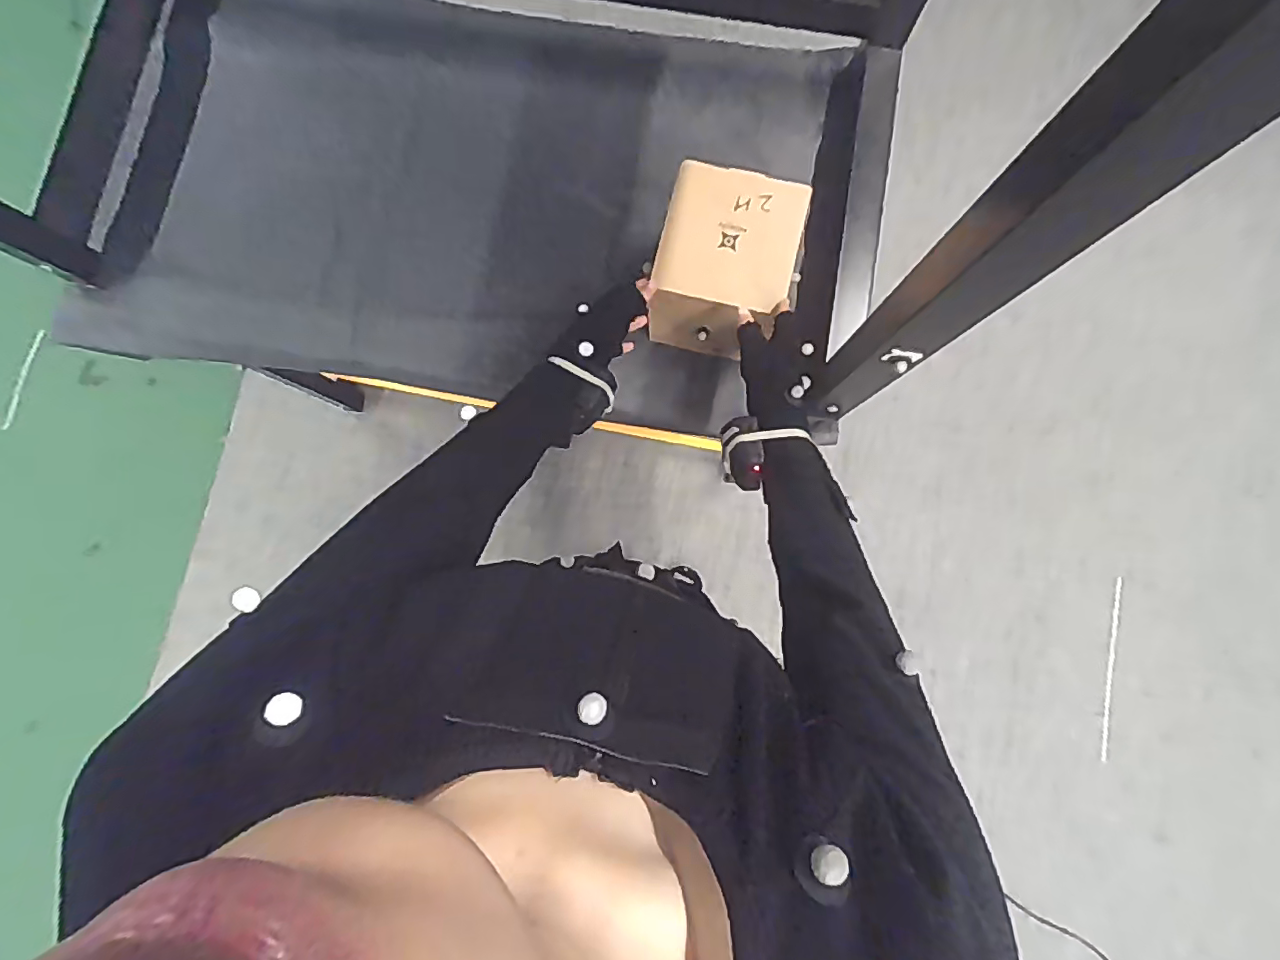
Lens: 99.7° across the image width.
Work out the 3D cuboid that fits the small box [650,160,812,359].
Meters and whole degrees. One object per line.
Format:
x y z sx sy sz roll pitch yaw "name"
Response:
0.114 -0.284 0.734 0.168 0.176 0.179 14 83 3 "small box"
